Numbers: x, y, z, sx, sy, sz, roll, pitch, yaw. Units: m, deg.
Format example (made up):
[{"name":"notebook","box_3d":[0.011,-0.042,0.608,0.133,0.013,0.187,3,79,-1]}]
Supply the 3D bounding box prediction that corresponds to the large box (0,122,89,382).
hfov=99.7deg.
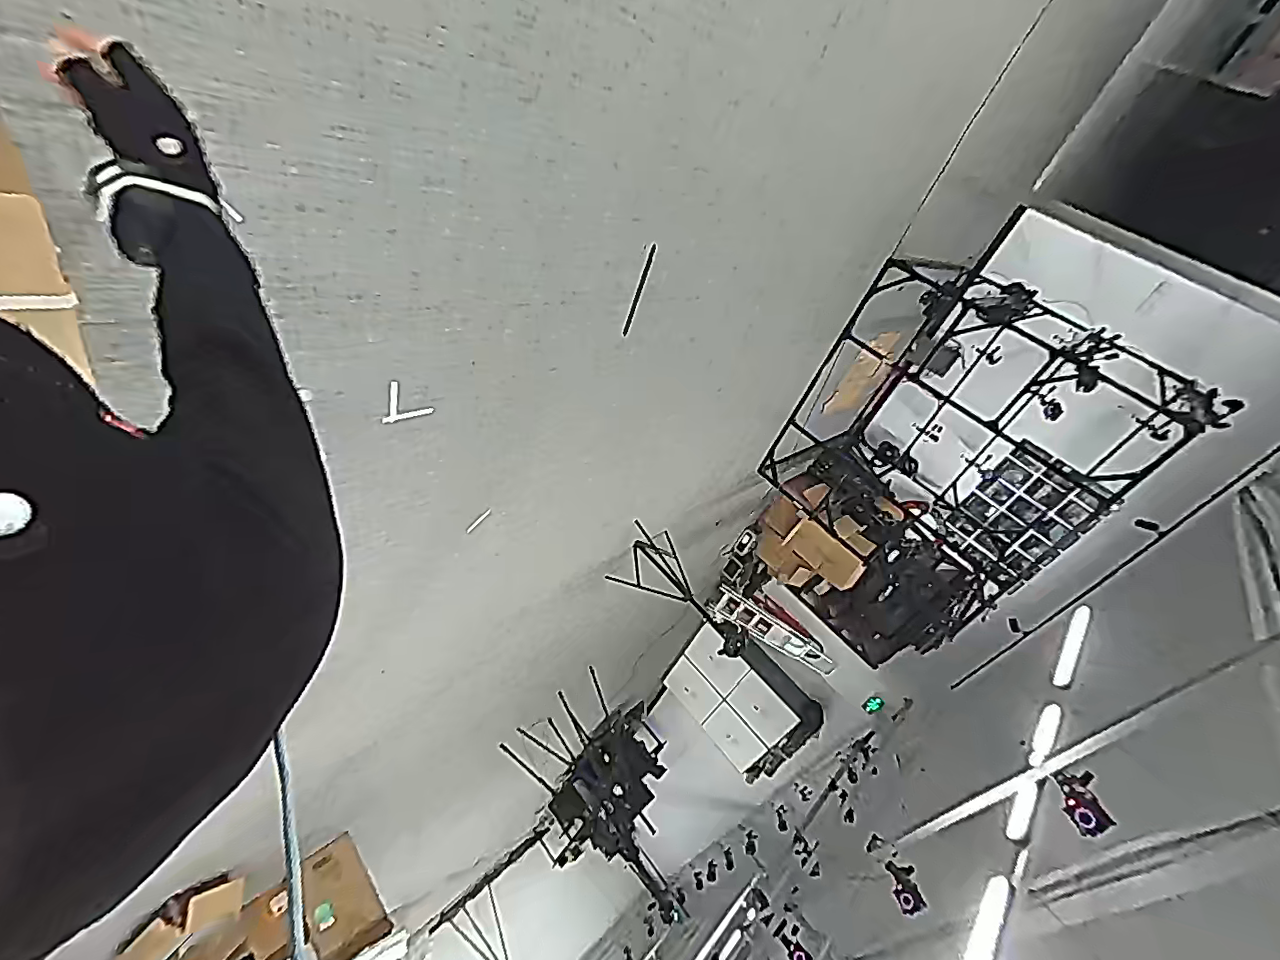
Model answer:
[{"name":"large box","box_3d":[-1.116,-0.337,0.756,0.408,0.320,0.320,-20,145,-44]}]
